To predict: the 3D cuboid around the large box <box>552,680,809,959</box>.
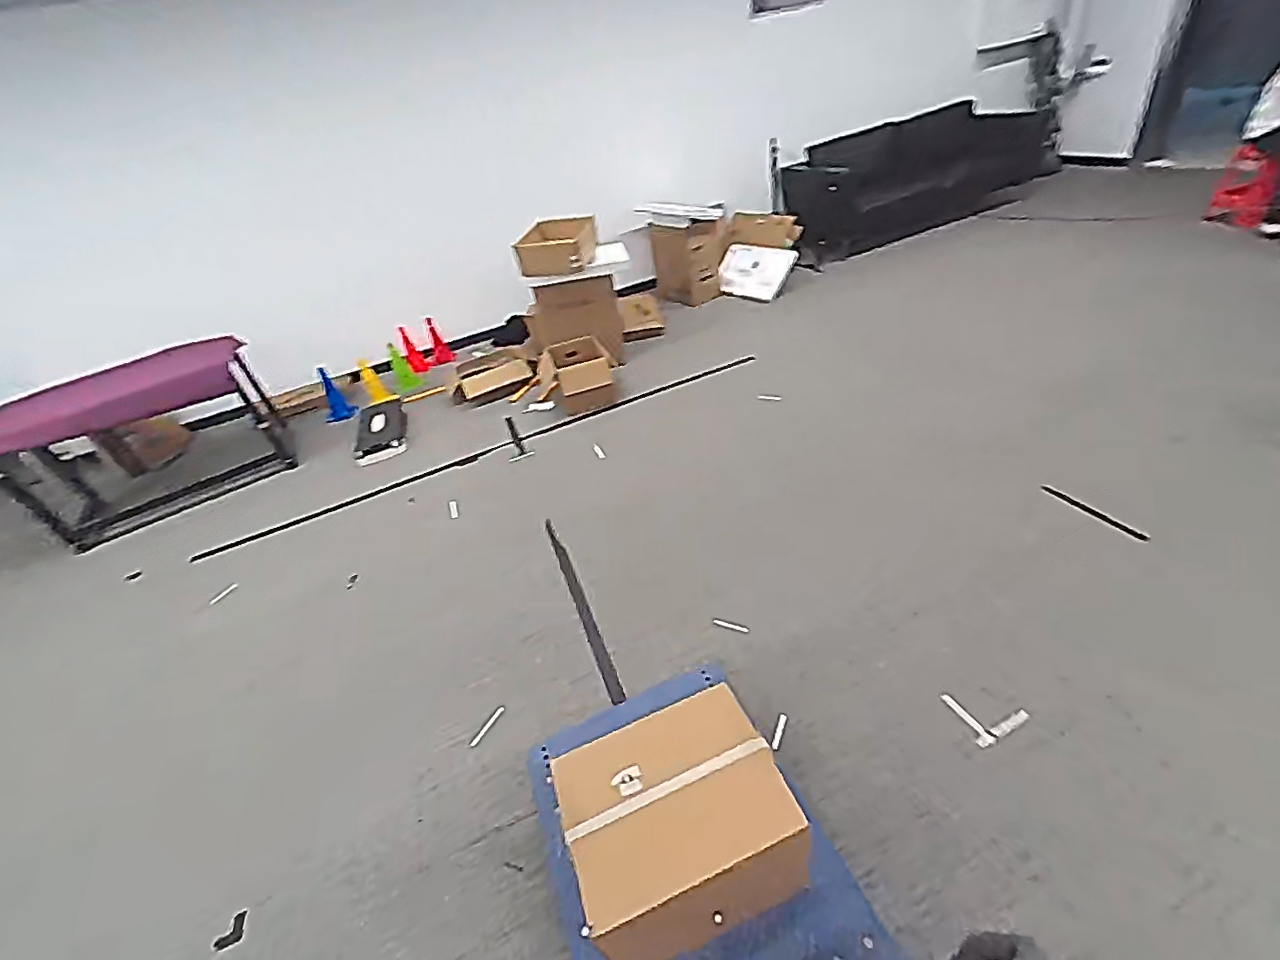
[{"bbox_3d":[0.084,0.692,1.094,0.408,0.320,0.320,-21,36,-10],"label":"large box"}]
